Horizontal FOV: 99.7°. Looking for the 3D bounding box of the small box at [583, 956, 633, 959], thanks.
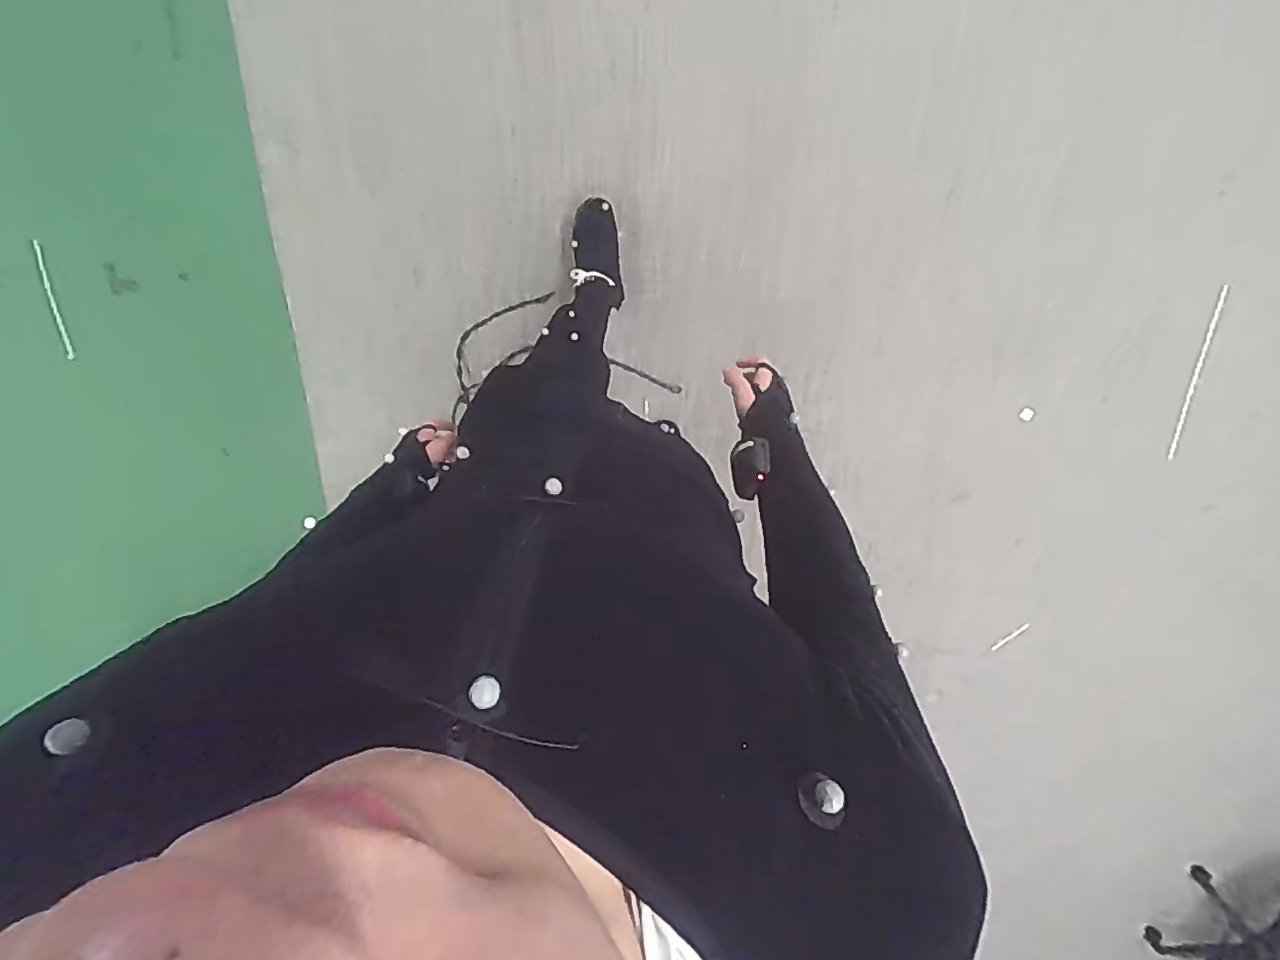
[{"bbox_3d":[-0.057,1.192,1.187,0.168,0.176,0.179,0,109,2],"label":"small box"}]
